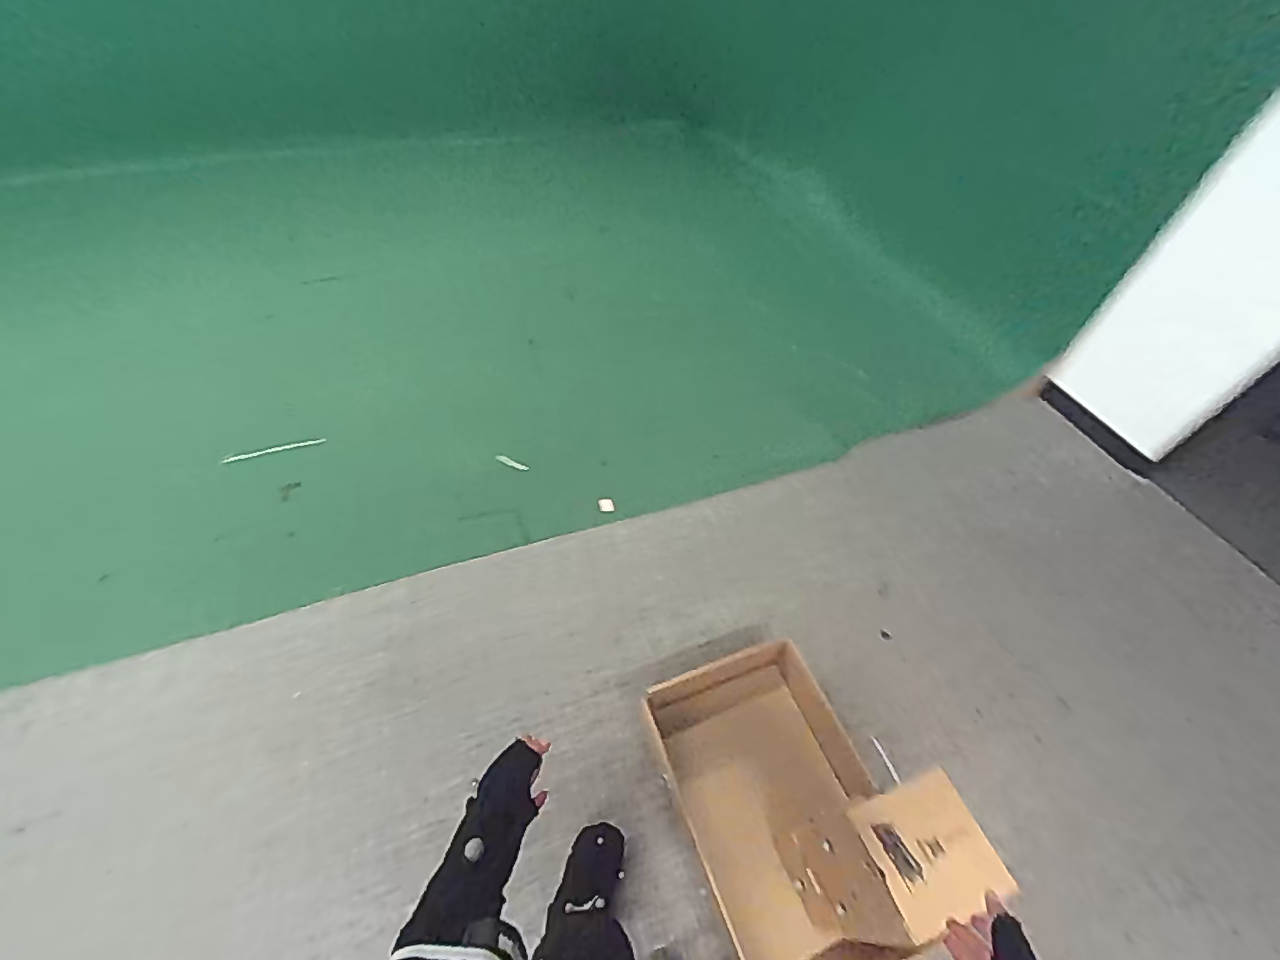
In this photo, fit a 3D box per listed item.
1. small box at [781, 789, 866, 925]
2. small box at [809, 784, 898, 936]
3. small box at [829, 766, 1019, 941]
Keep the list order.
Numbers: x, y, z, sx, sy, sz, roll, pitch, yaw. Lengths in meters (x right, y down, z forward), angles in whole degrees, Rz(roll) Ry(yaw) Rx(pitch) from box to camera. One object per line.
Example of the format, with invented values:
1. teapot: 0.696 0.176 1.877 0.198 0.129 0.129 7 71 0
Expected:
1. small box: 0.405 0.768 1.097 0.179 0.176 0.168 -19 53 -17
2. small box: 0.417 0.664 0.948 0.179 0.176 0.168 -16 53 -14
3. small box: 0.414 0.573 0.832 0.179 0.176 0.168 -15 54 -14
